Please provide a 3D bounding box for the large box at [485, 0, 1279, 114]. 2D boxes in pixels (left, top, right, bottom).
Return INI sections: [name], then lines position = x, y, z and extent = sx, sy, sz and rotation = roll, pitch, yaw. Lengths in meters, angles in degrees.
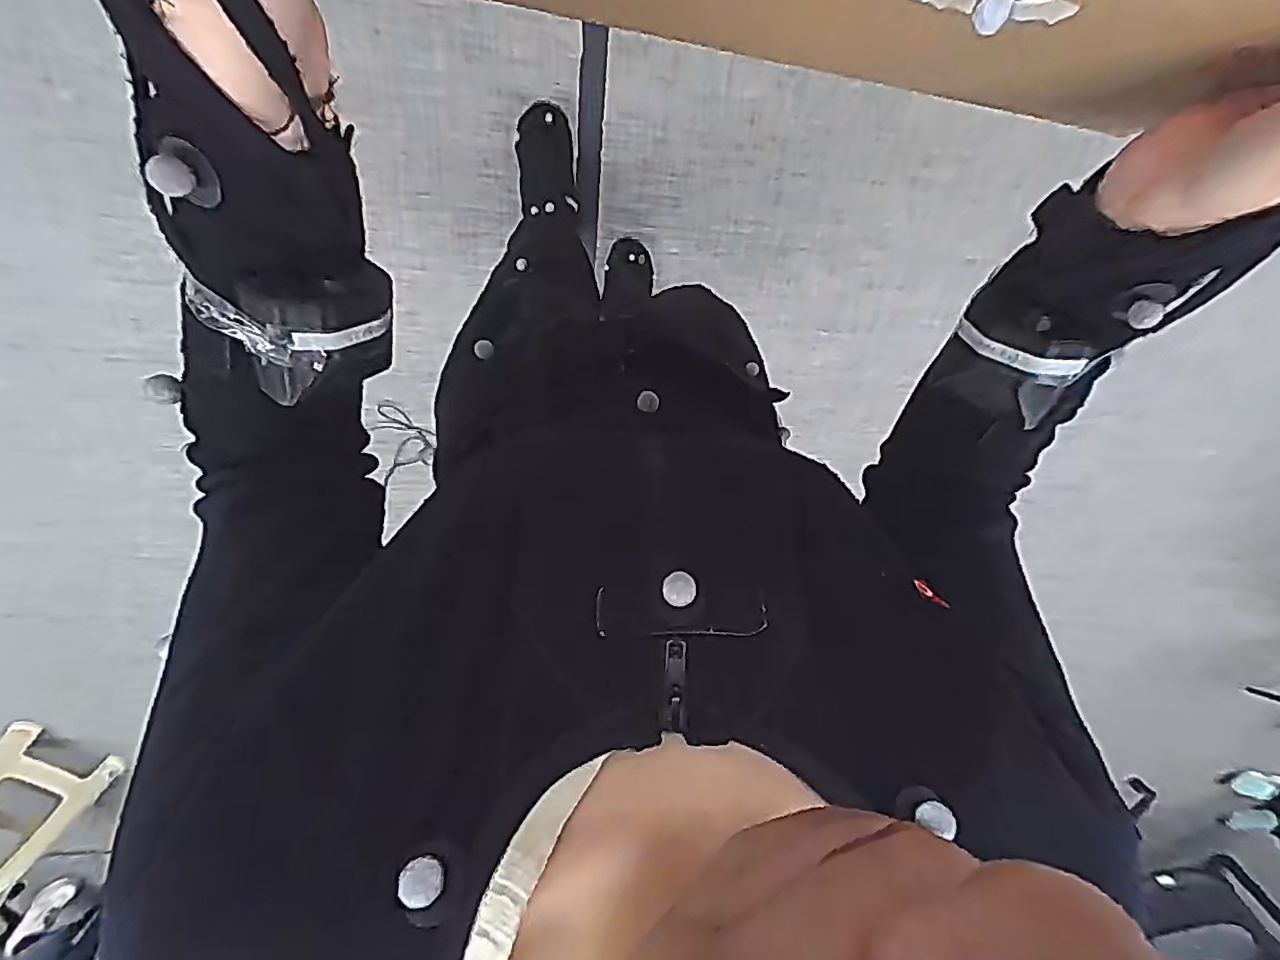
[large box]
position = 0.076, -0.319, 0.093
extent = 0.408, 0.320, 0.320
rotation = 9, 110, -2
